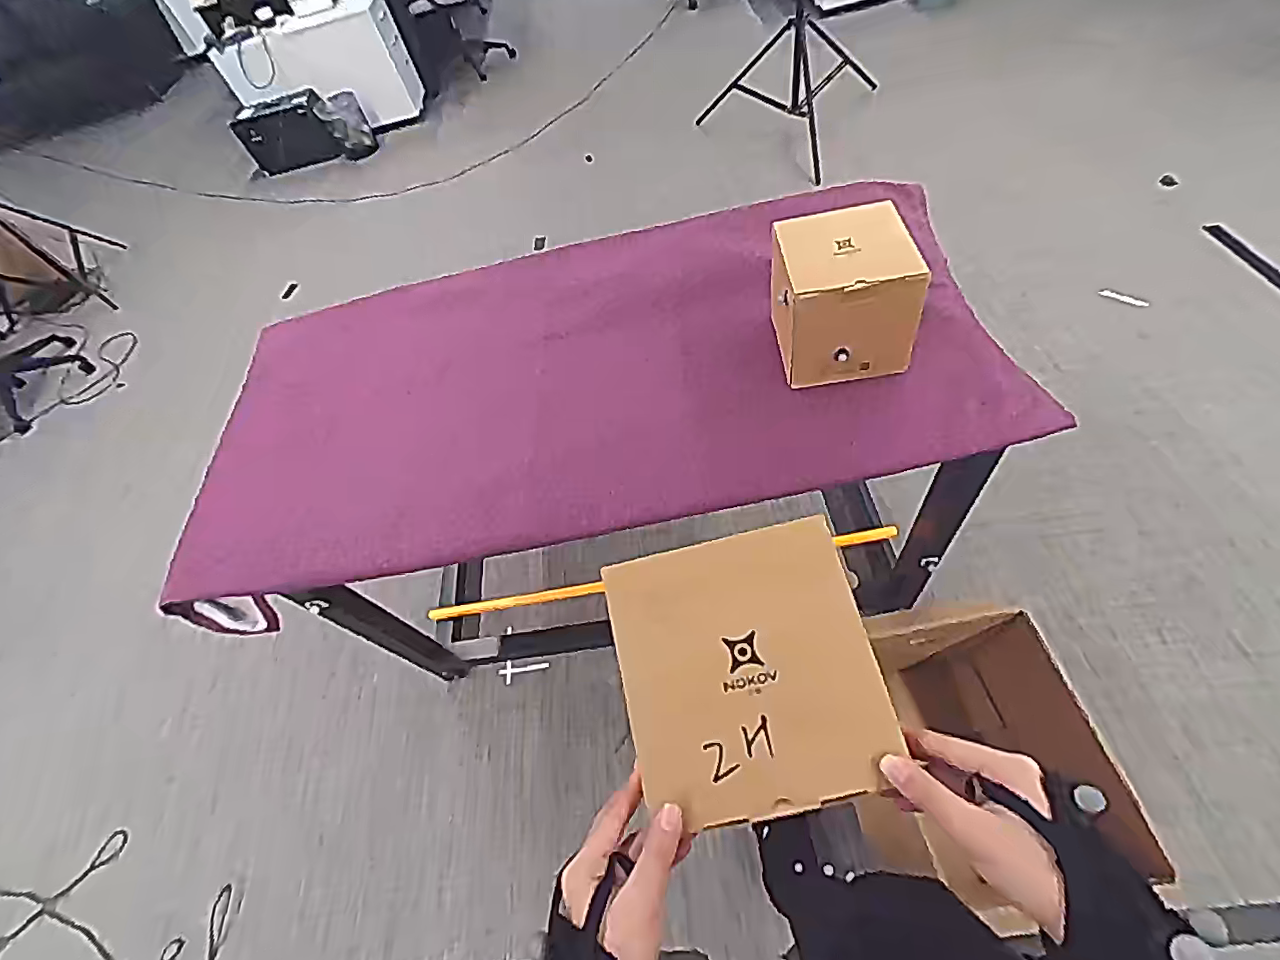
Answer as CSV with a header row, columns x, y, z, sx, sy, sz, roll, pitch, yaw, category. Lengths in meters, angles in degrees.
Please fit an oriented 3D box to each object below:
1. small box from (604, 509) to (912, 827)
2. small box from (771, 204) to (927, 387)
x,y,z,sx,sy,sz,roll,pitch,yaw,category
0.078,0.145,0.431,0.168,0.176,0.179,-15,68,4,small box
0.284,-0.262,0.782,0.168,0.176,0.179,-8,54,8,small box
